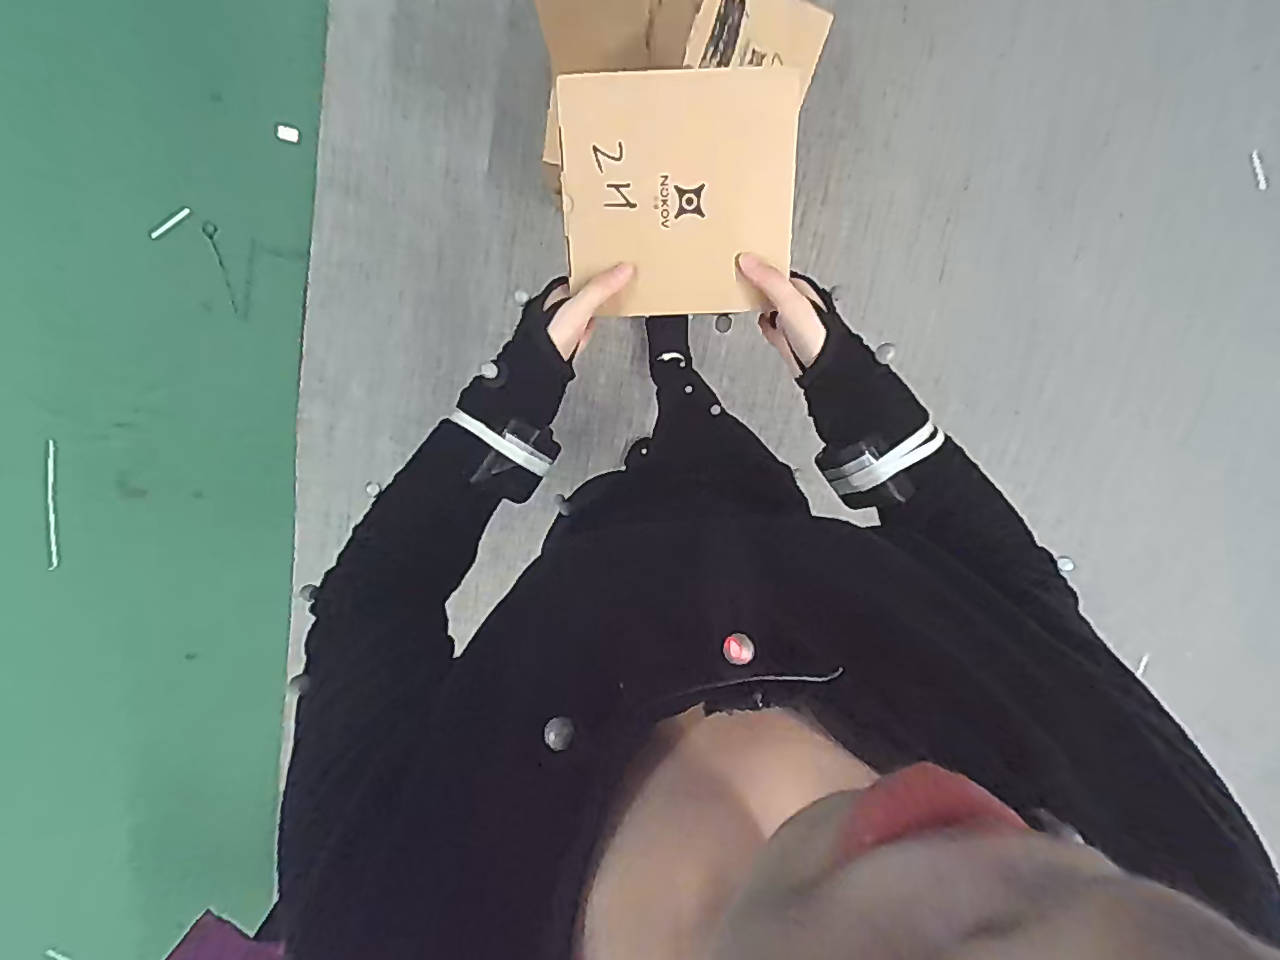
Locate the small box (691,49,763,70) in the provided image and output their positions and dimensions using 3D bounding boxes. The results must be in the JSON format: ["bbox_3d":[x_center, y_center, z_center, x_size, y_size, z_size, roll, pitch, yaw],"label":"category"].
[{"bbox_3d":[0.142,-0.608,0.969,0.168,0.176,0.179,14,99,-4],"label":"small box"}]

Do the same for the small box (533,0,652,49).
[{"bbox_3d":[-0.065,-0.766,0.775,0.179,0.176,0.168,9,98,-3],"label":"small box"}]

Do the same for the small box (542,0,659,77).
[{"bbox_3d":[-0.061,-0.788,0.937,0.179,0.176,0.168,8,98,-1],"label":"small box"}]

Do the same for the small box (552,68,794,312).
[{"bbox_3d":[0.023,-0.240,0.484,0.179,0.176,0.168,-1,108,0],"label":"small box"}]
